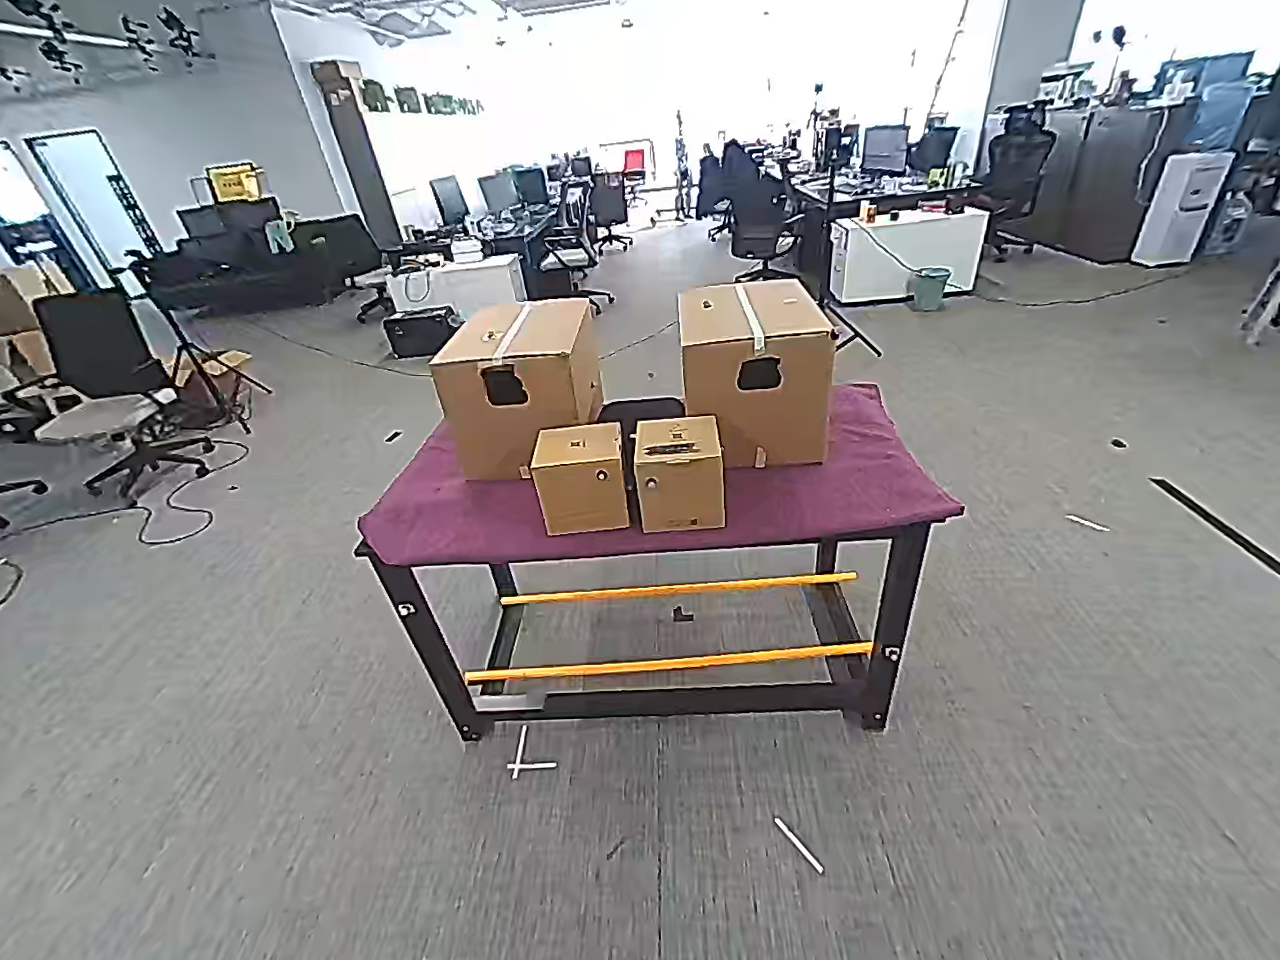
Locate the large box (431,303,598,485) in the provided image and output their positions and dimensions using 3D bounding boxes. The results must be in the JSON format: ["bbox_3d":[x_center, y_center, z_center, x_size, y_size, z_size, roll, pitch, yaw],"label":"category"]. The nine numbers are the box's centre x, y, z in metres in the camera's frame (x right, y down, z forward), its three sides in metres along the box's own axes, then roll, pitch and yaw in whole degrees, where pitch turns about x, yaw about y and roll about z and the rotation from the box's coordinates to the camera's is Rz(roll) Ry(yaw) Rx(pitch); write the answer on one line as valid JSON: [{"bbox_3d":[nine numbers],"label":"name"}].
[{"bbox_3d":[-0.287,-0.233,1.401,0.320,0.320,0.408,-5,36,4],"label":"large box"}]
